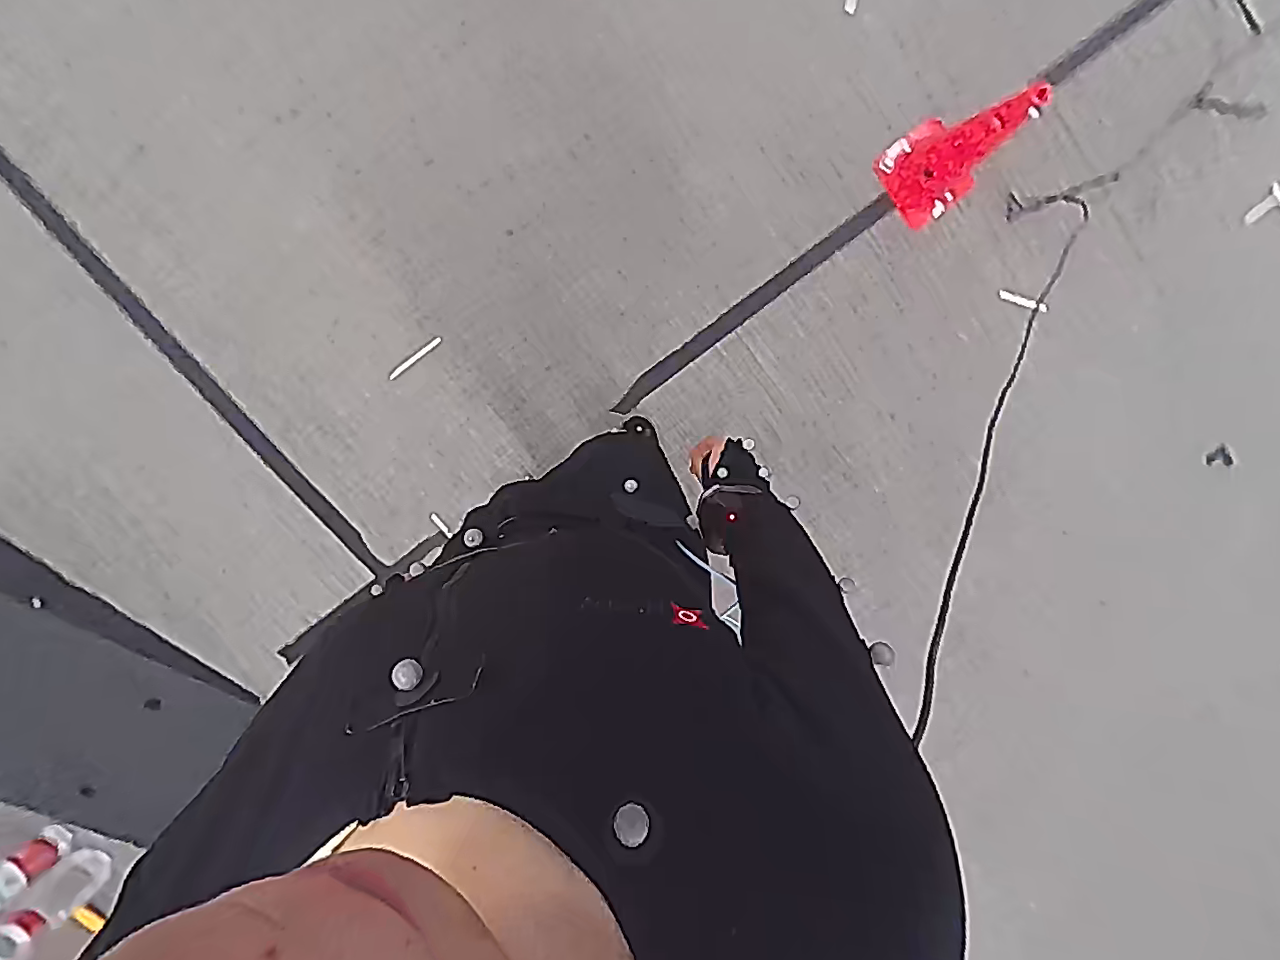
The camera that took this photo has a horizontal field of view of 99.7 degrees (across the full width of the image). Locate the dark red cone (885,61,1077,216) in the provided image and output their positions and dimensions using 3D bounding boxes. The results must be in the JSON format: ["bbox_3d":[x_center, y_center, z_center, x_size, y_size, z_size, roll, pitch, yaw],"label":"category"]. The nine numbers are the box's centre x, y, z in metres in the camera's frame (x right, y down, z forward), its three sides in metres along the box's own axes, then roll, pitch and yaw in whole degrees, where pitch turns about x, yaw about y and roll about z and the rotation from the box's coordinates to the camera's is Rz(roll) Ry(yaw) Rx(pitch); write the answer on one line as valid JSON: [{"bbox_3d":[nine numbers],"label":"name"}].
[{"bbox_3d":[0.722,-0.739,1.133,0.202,0.394,0.201,-38,101,1],"label":"dark red cone"}]
